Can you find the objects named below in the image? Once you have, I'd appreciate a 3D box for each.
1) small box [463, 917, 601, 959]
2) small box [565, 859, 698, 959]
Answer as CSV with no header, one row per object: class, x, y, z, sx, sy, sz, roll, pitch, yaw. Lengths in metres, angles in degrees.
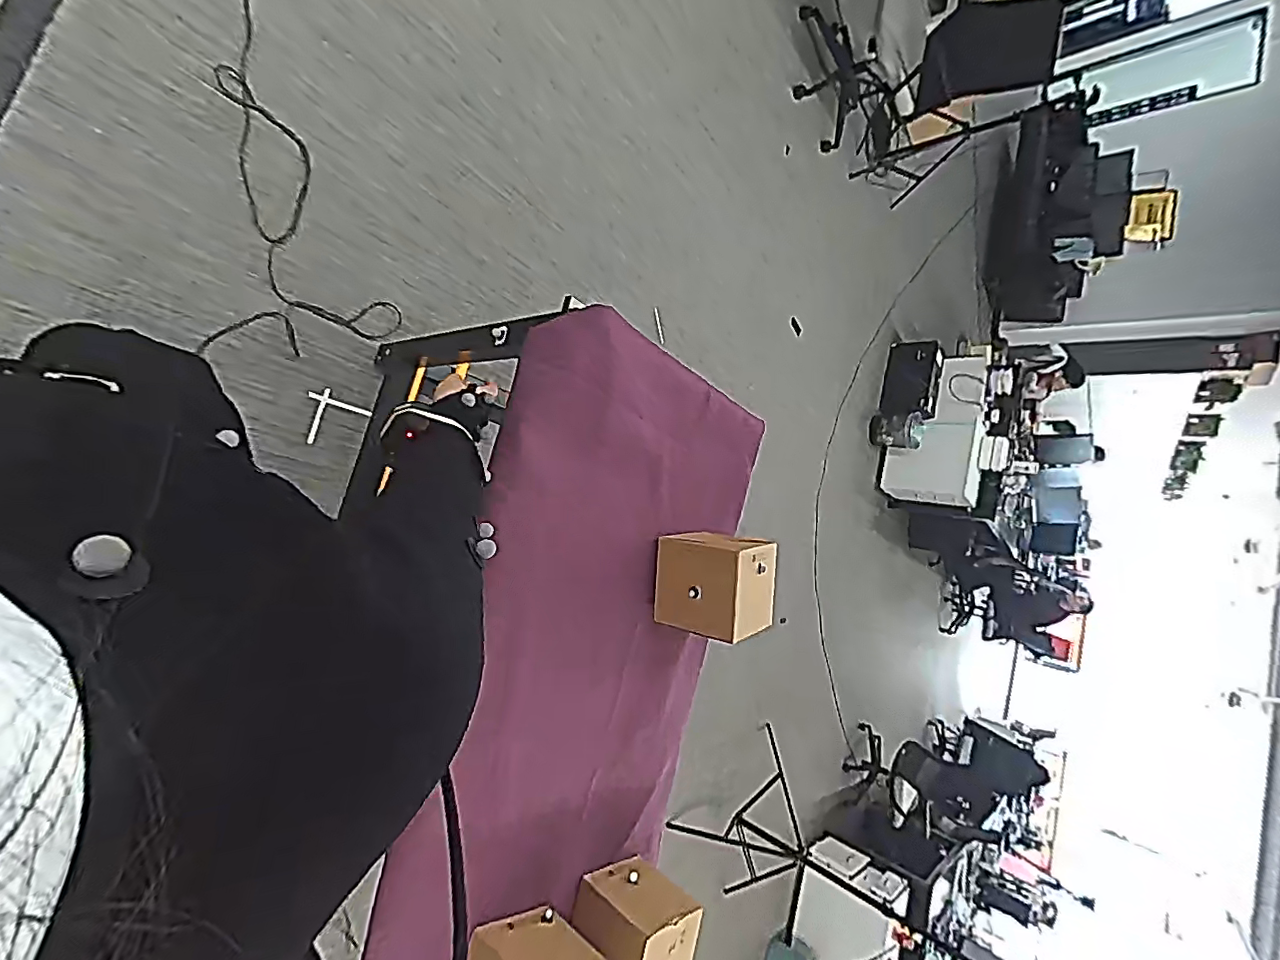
small box,-0.176,0.797,0.805,0.168,0.176,0.179,32,72,-47
small box,-0.025,0.841,0.981,0.168,0.176,0.179,23,79,-47
